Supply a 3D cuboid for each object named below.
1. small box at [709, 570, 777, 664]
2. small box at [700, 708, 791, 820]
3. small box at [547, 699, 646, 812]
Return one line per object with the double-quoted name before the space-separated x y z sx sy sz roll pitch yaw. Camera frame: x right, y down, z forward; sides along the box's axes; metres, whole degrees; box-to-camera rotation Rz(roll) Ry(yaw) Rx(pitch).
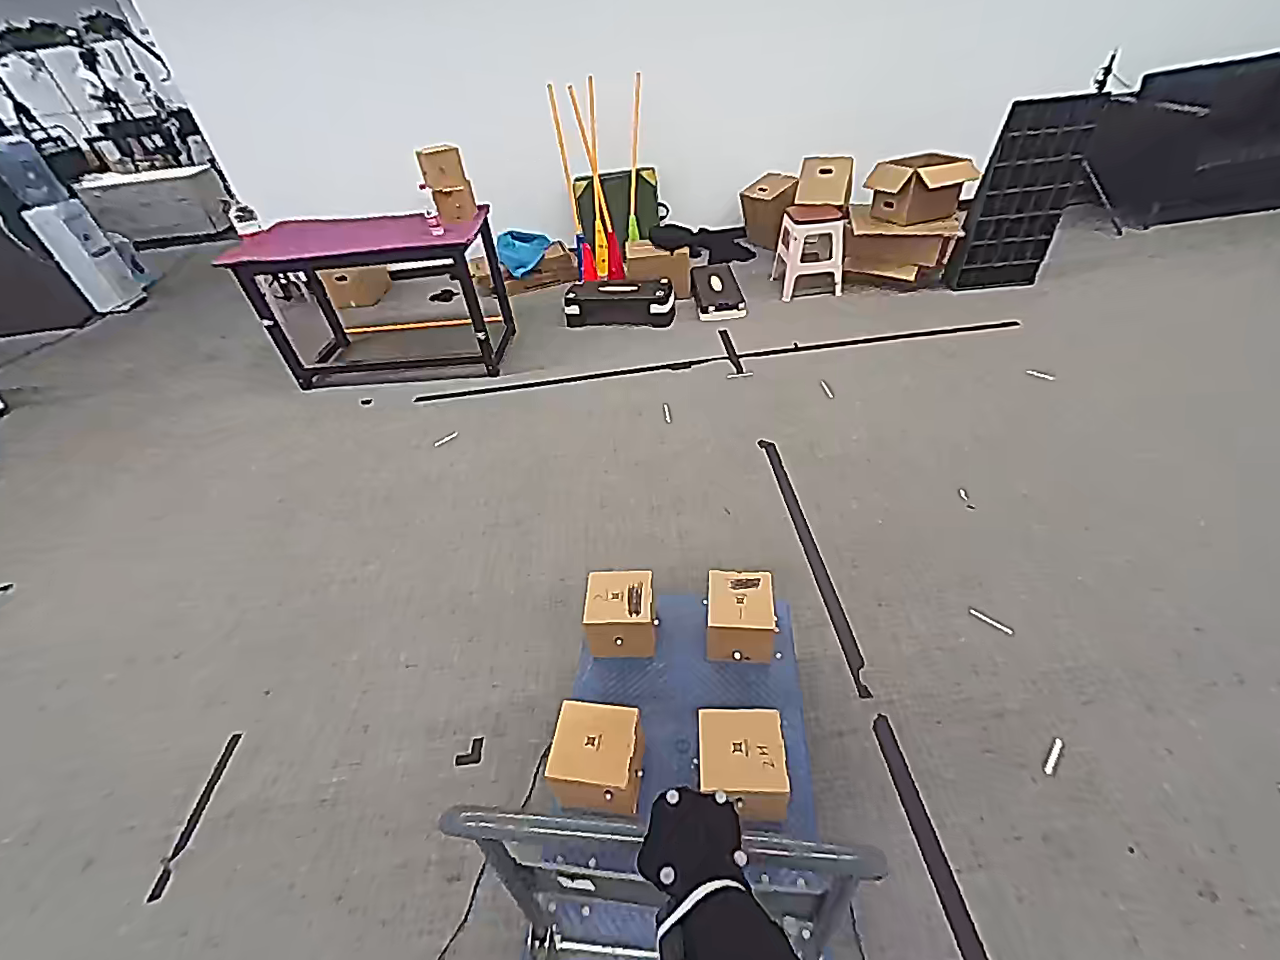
"small box" 0.270 0.363 1.438 0.168 0.176 0.179 1 43 8
"small box" 0.220 0.610 1.162 0.179 0.176 0.168 -1 42 6
"small box" -0.088 0.613 1.200 0.179 0.176 0.168 3 42 8
